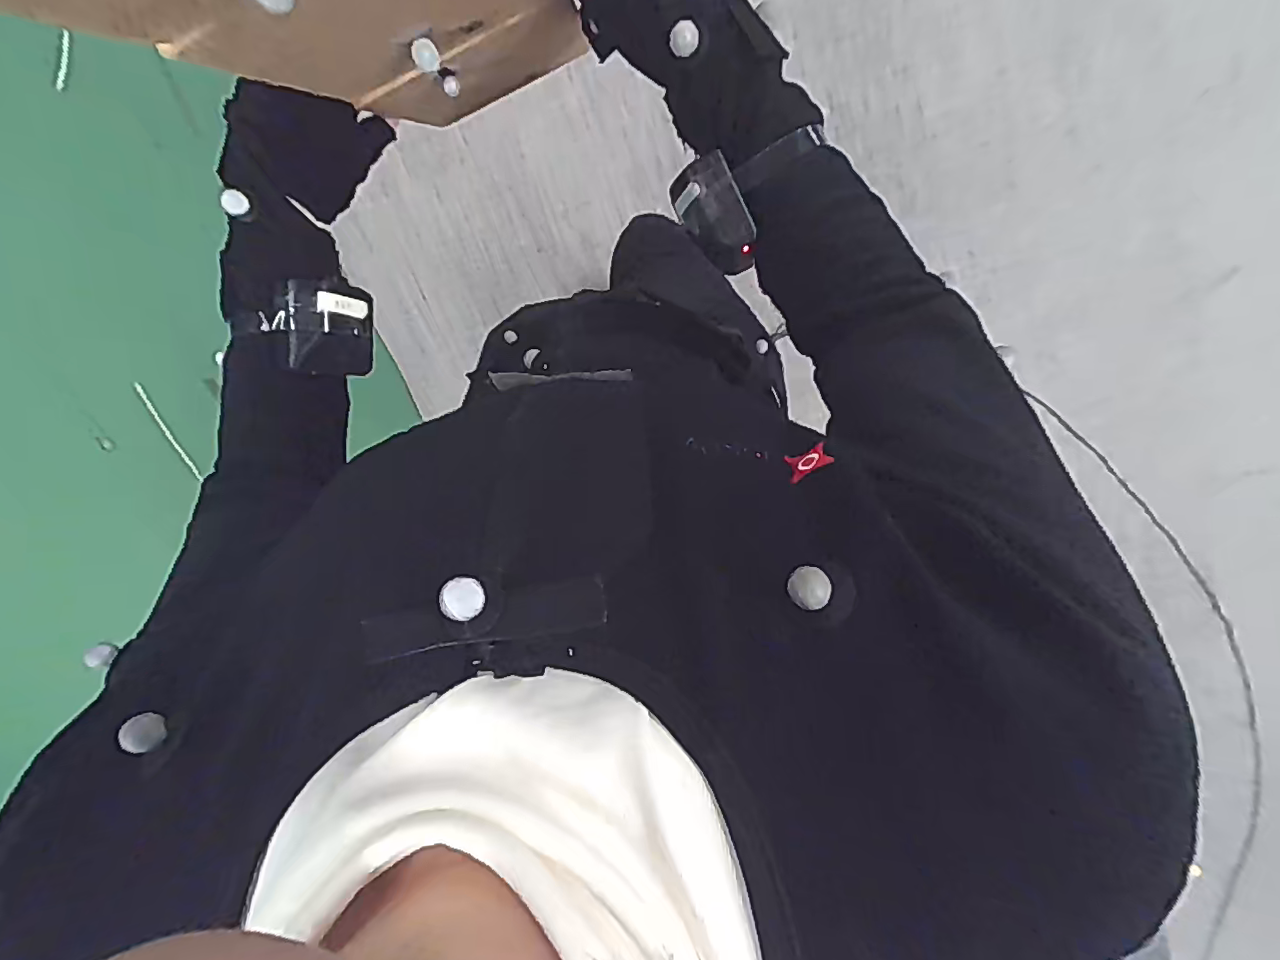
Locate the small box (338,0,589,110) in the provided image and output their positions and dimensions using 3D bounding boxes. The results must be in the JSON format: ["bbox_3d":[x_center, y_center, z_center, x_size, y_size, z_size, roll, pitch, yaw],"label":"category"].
[{"bbox_3d":[-0.150,-0.403,0.389,0.168,0.176,0.179,-18,117,13],"label":"small box"}]

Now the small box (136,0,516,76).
[{"bbox_3d":[-0.156,-0.324,0.244,0.168,0.176,0.179,-17,118,12],"label":"small box"}]
